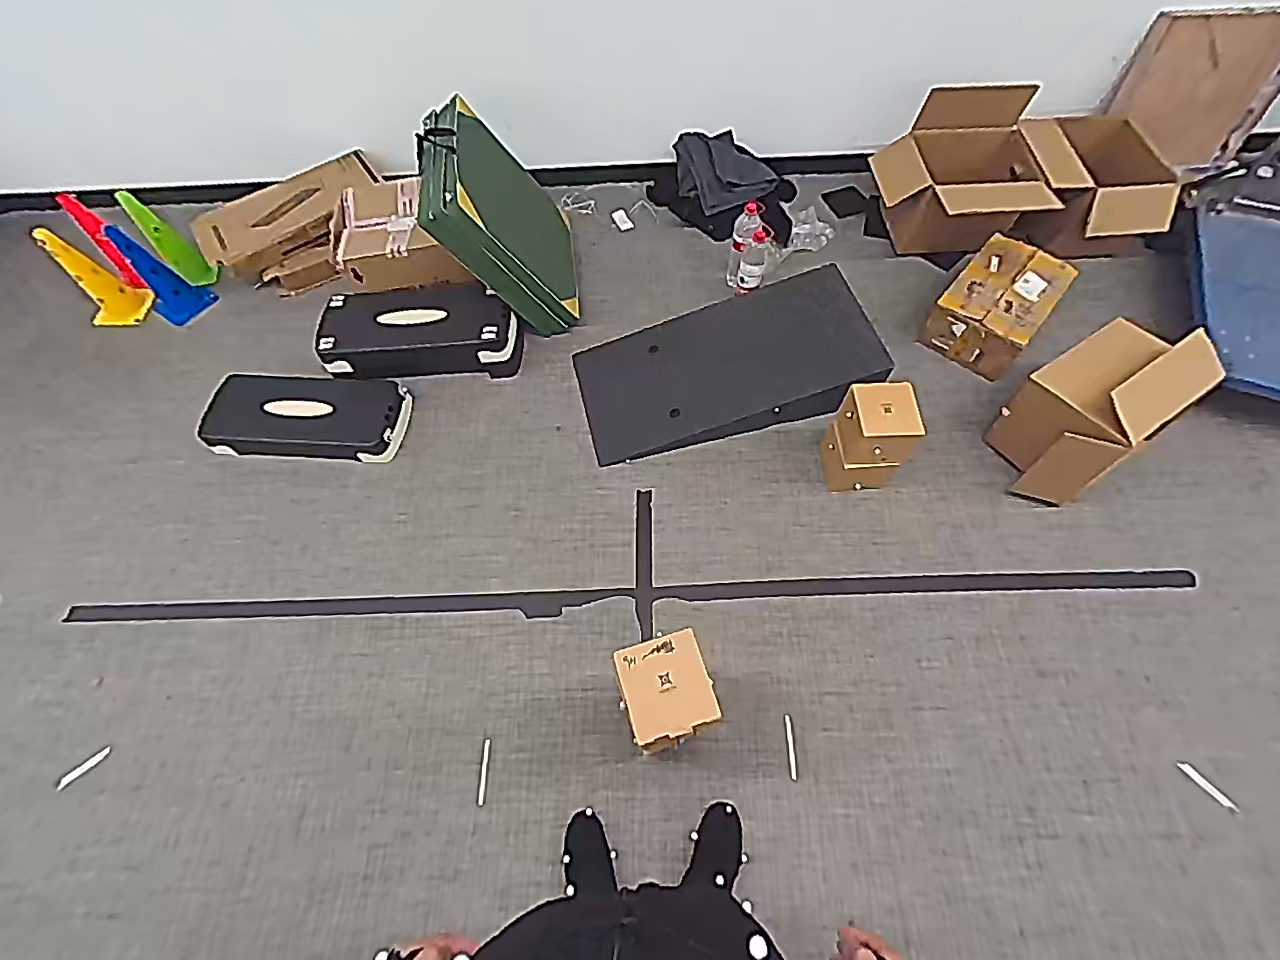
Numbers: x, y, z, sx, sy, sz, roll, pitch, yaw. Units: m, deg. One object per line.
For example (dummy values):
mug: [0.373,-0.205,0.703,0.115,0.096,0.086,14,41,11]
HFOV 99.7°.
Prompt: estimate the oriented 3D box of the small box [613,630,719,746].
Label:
small box: [0.051,0.426,1.103,0.168,0.176,0.179,-15,64,-6]
